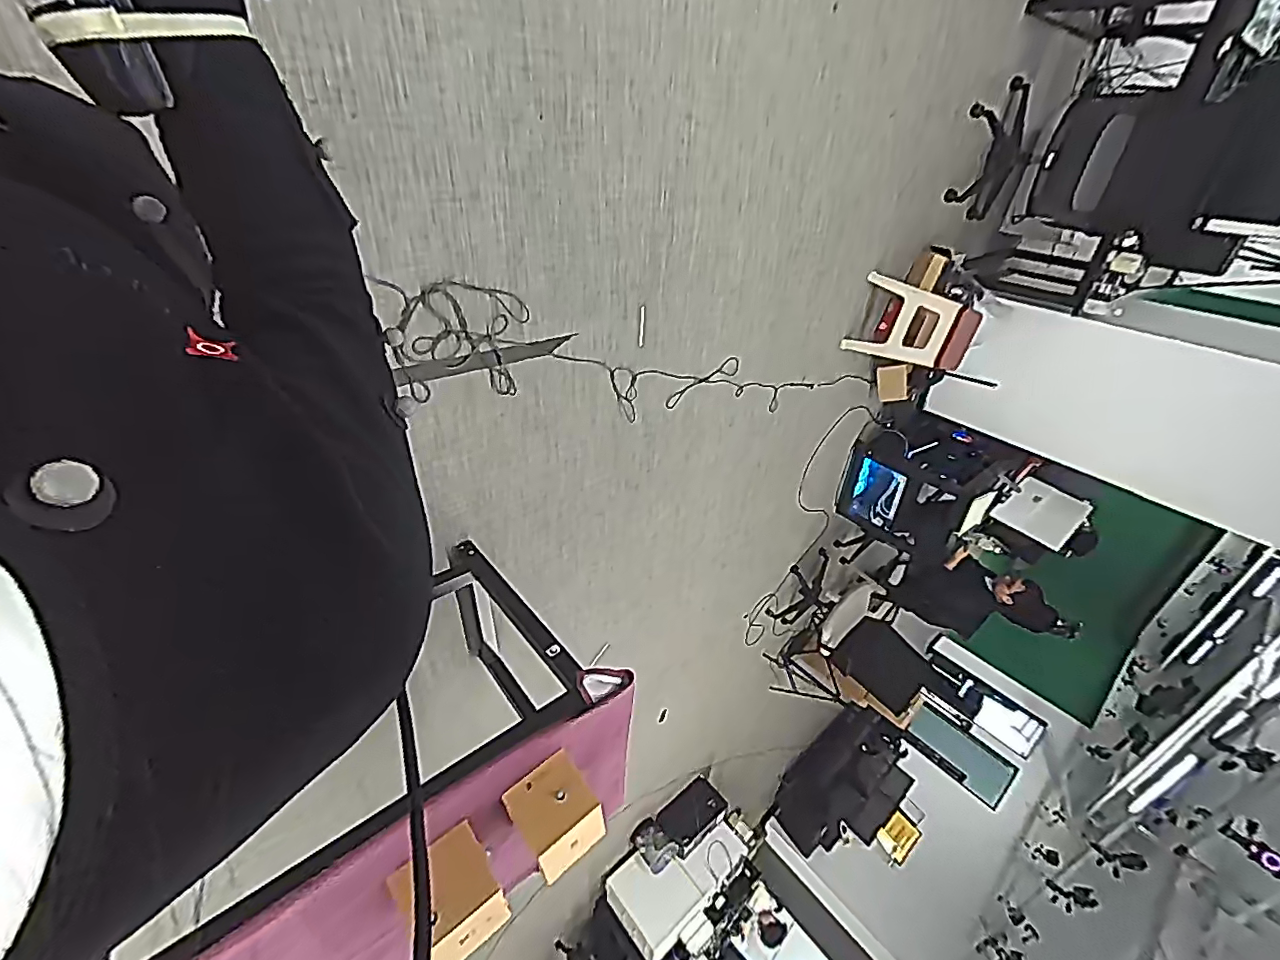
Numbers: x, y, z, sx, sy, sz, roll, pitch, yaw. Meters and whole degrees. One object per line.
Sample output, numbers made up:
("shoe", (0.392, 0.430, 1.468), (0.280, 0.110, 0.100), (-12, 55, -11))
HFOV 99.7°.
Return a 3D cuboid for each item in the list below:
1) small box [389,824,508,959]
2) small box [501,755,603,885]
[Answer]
("small box", (-0.400, 0.872, 1.121), (0.179, 0.176, 0.168), (-26, 135, -31))
("small box", (-0.206, 0.786, 1.265), (0.168, 0.176, 0.179), (-29, 135, -30))
